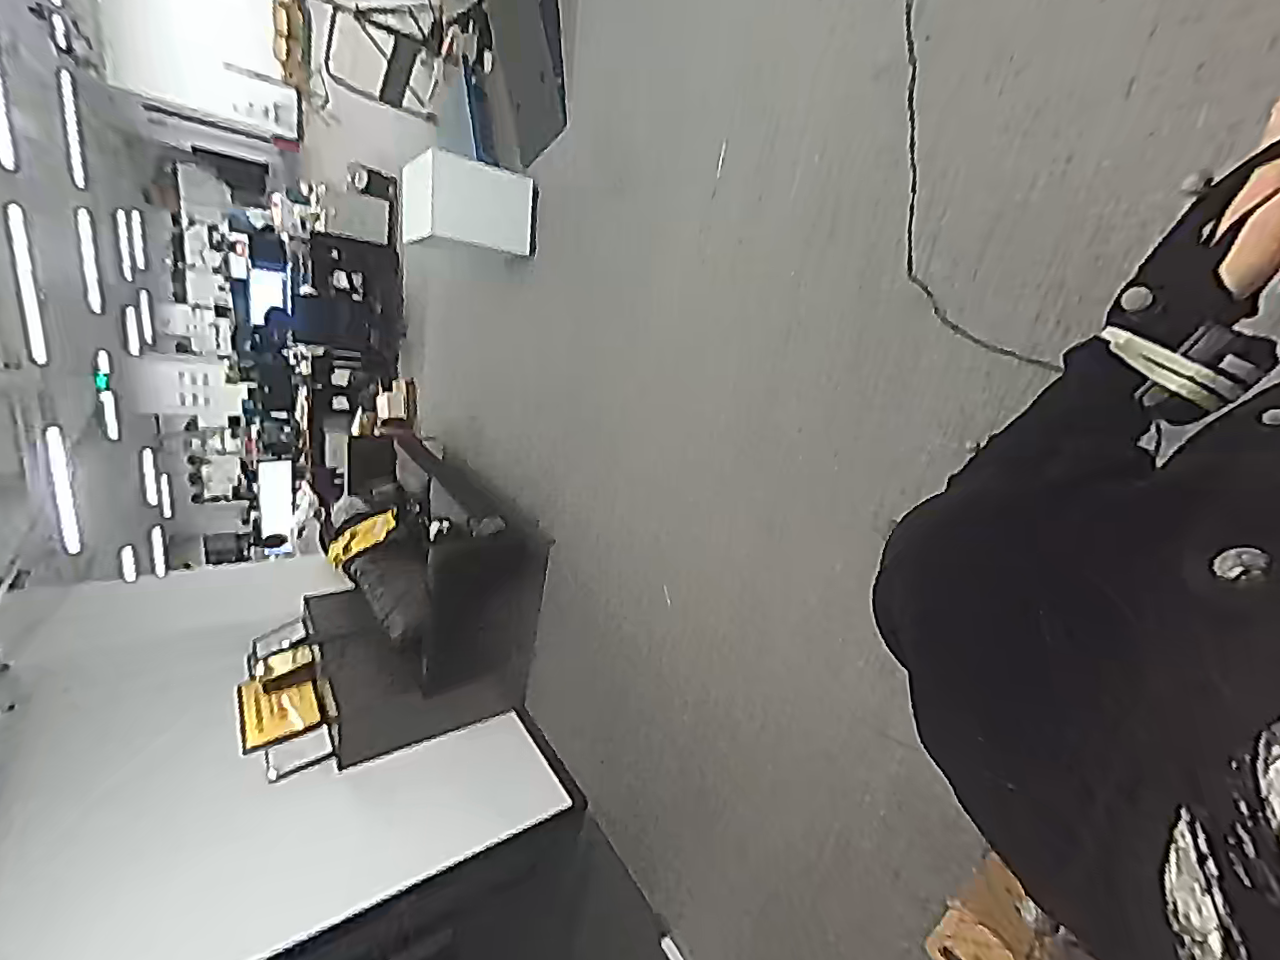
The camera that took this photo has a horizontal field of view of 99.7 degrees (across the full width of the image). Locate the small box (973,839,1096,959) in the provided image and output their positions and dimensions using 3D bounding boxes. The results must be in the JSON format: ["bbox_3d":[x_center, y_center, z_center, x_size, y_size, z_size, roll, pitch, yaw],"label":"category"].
[{"bbox_3d":[0.935,1.004,1.278,0.168,0.176,0.179,33,118,47],"label":"small box"}]
